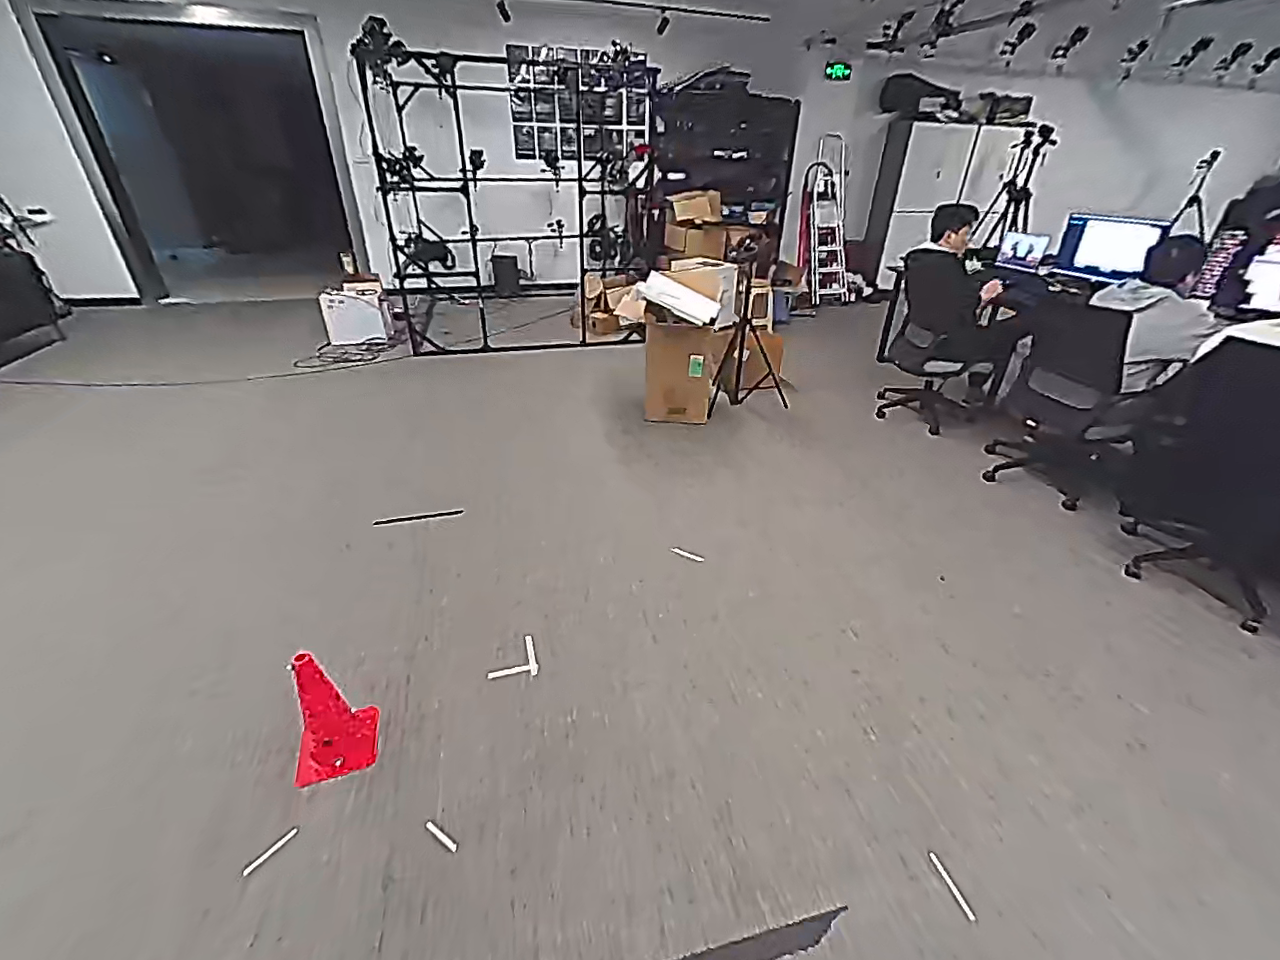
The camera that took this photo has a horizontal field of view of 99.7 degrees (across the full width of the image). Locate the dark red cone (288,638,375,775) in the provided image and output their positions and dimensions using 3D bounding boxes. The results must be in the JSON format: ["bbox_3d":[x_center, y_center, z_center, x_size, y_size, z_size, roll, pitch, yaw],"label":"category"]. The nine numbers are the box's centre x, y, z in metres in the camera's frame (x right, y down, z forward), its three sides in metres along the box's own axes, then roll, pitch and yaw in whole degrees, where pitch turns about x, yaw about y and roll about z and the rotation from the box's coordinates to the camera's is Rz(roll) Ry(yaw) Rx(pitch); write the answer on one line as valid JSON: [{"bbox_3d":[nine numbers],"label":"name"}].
[{"bbox_3d":[-0.840,0.563,1.409,0.202,0.394,0.201,-11,34,-19],"label":"dark red cone"}]
